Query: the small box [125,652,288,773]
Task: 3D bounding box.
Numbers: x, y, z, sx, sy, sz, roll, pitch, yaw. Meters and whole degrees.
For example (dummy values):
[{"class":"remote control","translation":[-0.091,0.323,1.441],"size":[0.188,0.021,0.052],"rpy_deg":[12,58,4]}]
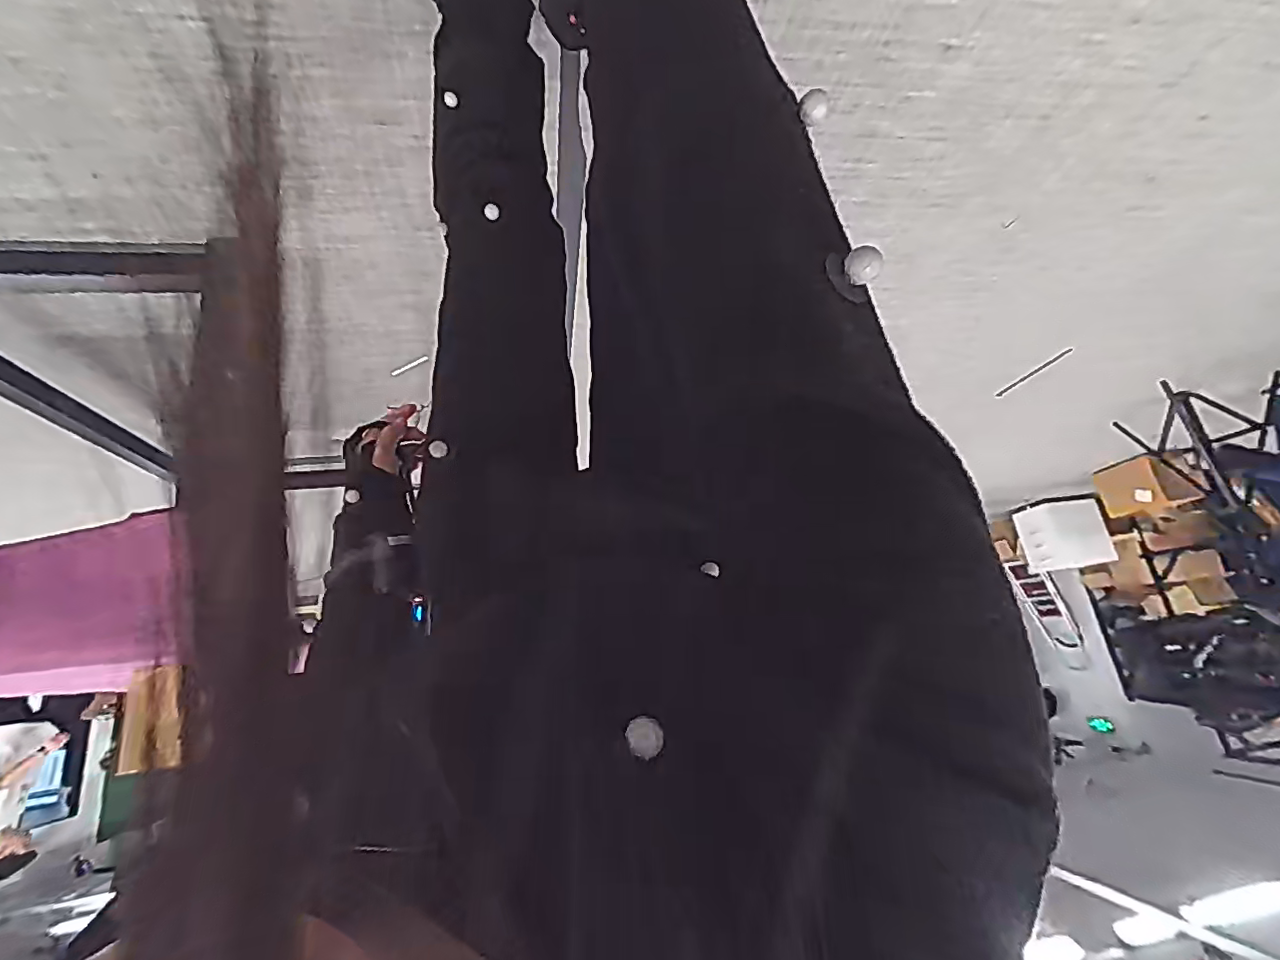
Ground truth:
[{"class":"small box","translation":[-0.766,0.408,0.977],"size":[0.179,0.176,0.168],"rpy_deg":[-5,162,-10]}]
